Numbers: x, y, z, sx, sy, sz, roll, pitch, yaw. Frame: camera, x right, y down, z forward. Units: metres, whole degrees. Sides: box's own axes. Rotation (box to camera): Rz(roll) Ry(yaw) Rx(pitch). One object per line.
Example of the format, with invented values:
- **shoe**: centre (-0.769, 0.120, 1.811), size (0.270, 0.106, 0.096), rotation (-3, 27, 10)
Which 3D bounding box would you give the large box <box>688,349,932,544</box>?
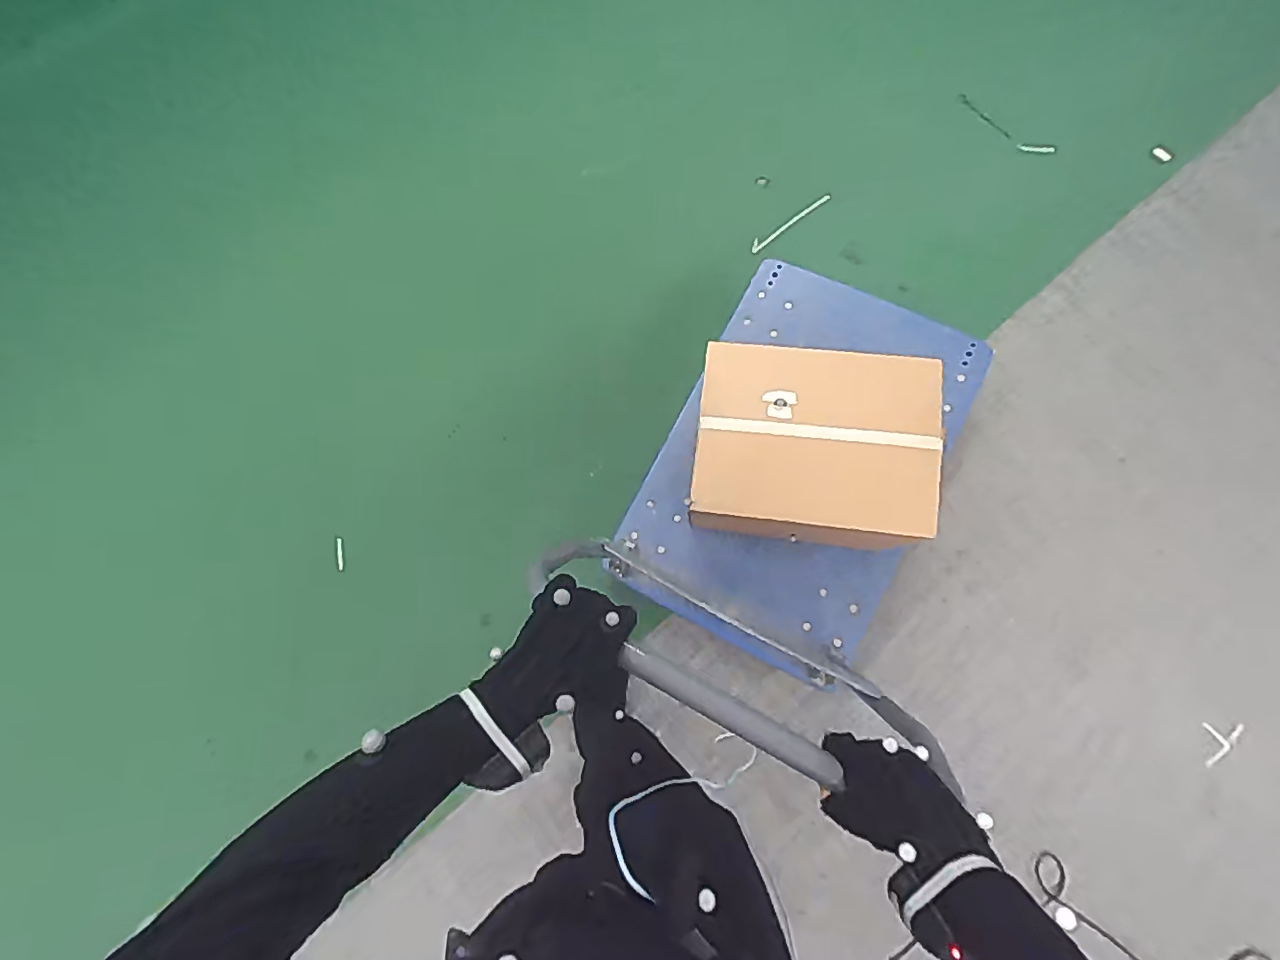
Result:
- **large box**: centre (0.316, -0.049, 1.086), size (0.408, 0.320, 0.320), rotation (6, 79, 8)
